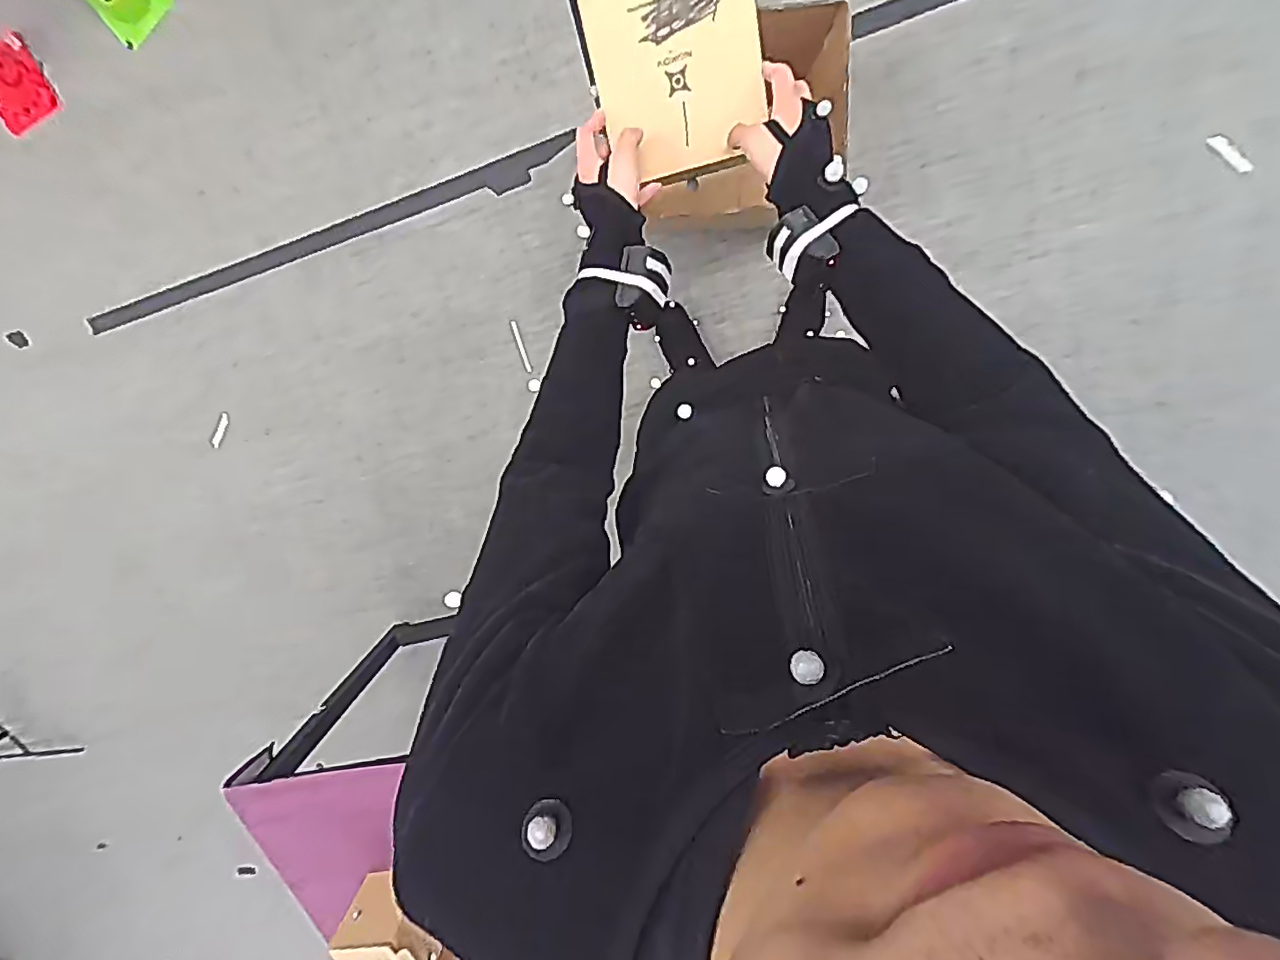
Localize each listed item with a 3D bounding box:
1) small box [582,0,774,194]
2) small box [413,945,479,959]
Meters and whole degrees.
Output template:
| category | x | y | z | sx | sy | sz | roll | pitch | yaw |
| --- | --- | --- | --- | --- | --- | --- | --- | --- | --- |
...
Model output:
| category | x | y | z | sx | sy | sz | roll | pitch | yaw |
| --- | --- | --- | --- | --- | --- | --- | --- | --- | --- |
| small box | 0.047 | -0.434 | 0.600 | 0.168 | 0.176 | 0.179 | -9 | 115 | 11 |
| small box | -0.495 | 1.304 | 1.345 | 0.179 | 0.176 | 0.168 | -16 | 106 | 12 |
